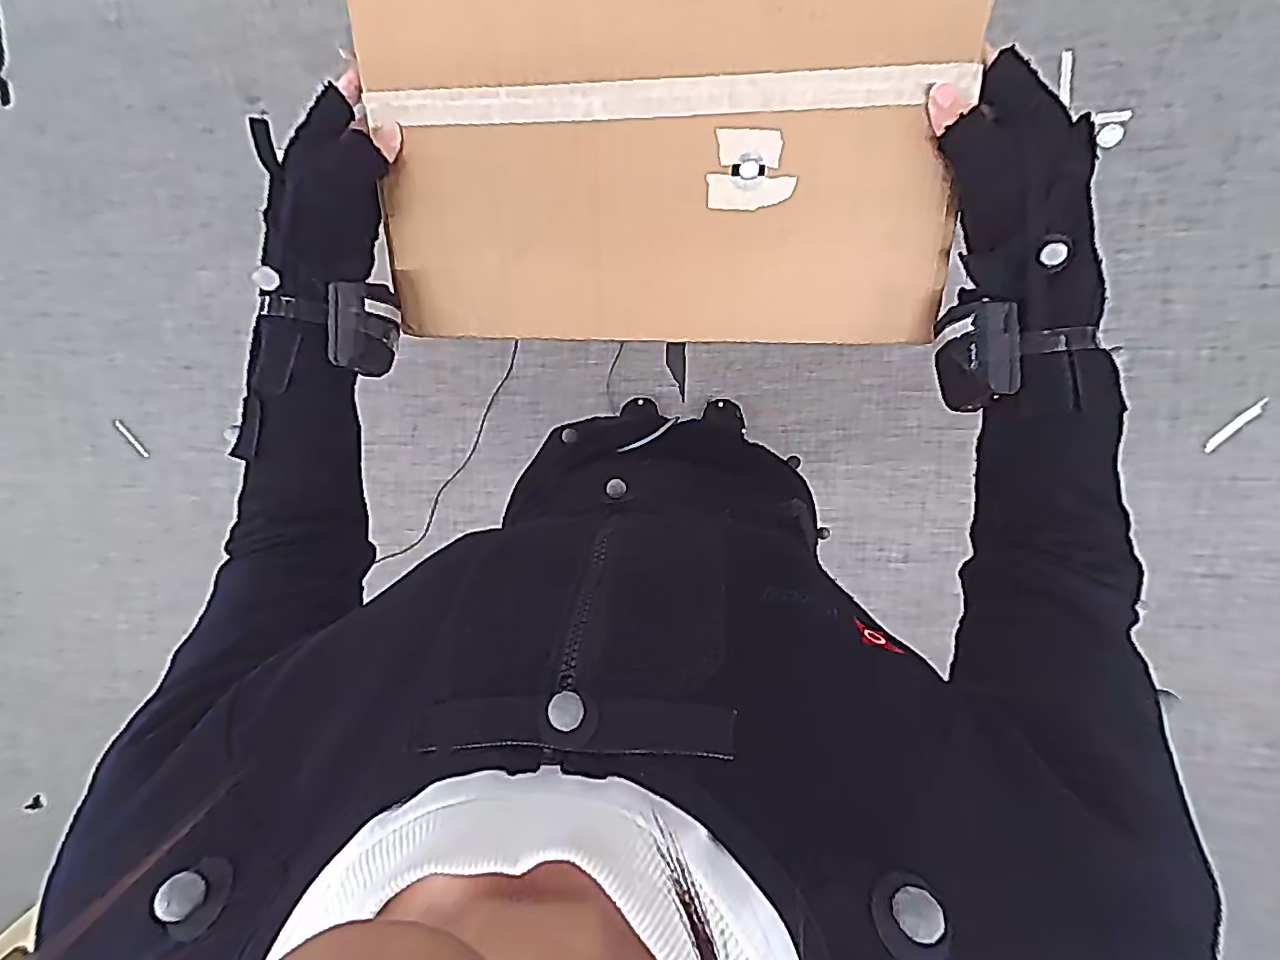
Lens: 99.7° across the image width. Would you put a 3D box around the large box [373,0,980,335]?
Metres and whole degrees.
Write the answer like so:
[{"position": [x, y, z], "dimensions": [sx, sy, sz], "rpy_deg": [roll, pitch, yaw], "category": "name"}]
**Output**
[{"position": [0.030, -0.312, 0.510], "dimensions": [0.408, 0.320, 0.320], "rpy_deg": [2, 111, 7], "category": "large box"}]
